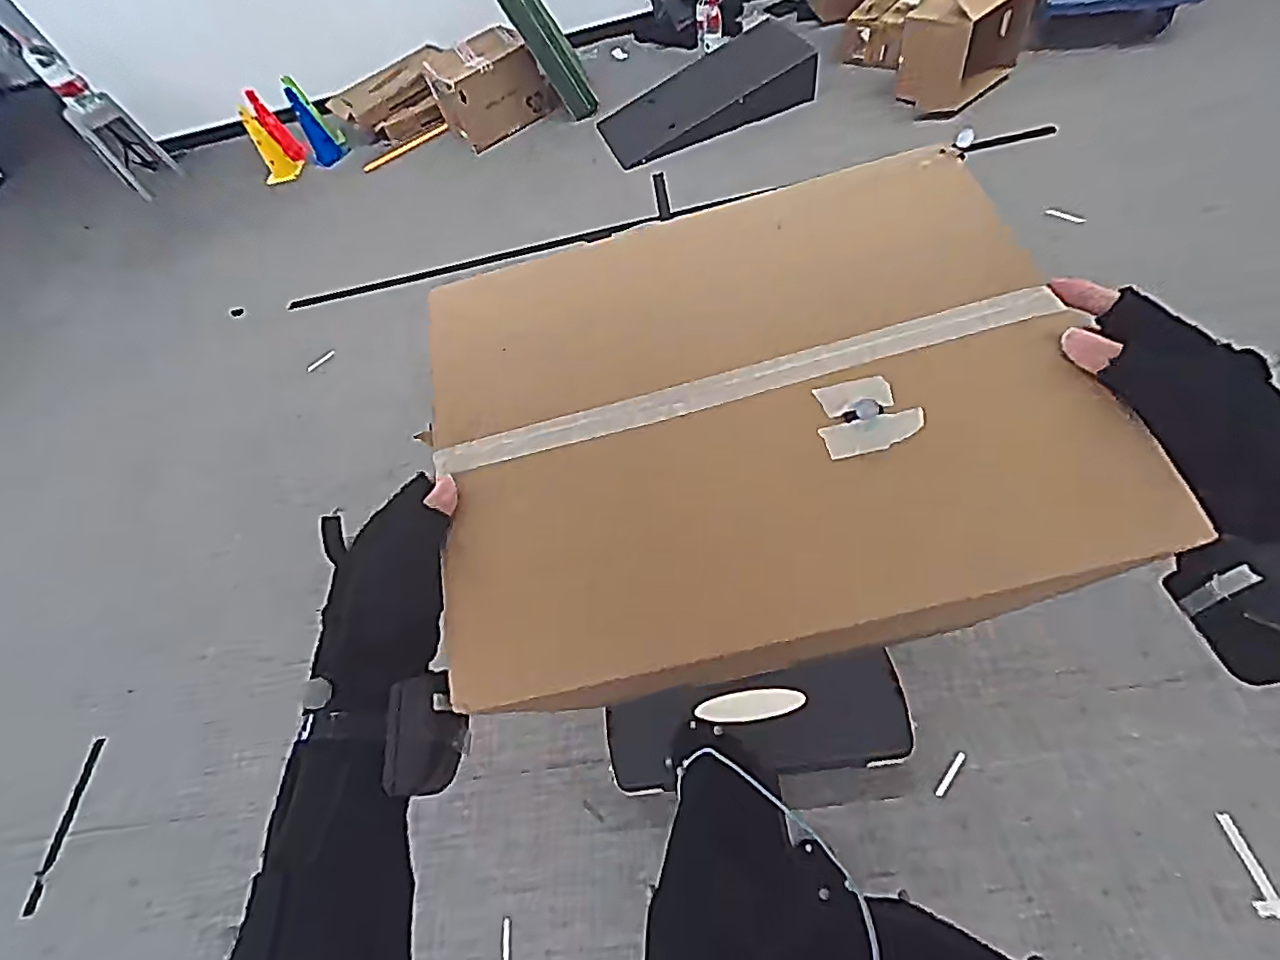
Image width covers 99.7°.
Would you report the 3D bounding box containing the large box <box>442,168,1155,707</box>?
[{"bbox_3d":[0.083,0.003,0.501,0.408,0.320,0.320,-15,67,4],"label":"large box"}]
